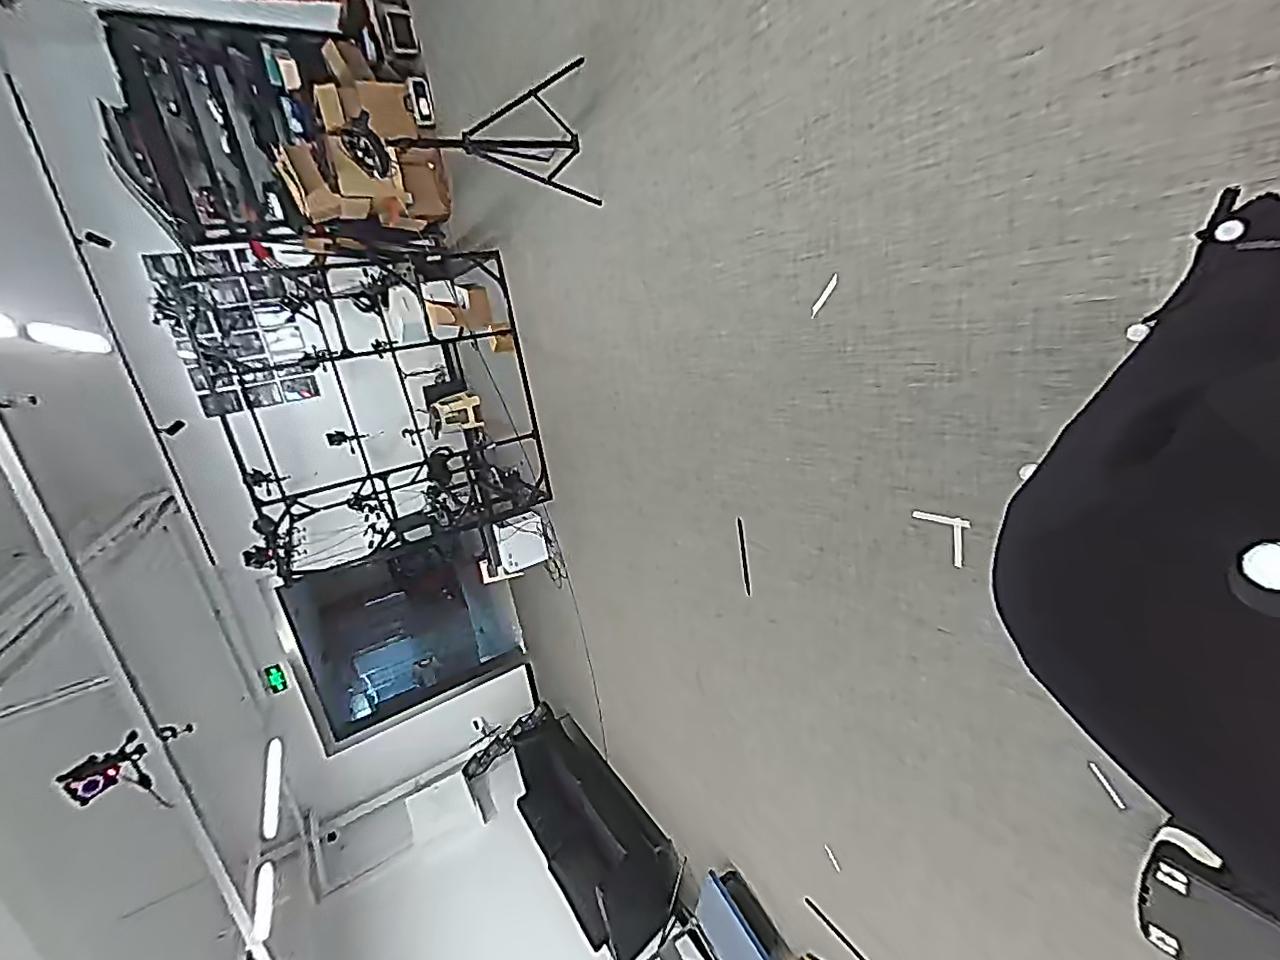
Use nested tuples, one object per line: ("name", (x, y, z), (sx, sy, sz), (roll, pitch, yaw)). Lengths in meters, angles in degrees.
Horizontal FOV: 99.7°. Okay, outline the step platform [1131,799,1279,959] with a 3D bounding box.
("step platform", (1.409, 0.977, 1.044), (0.684, 0.204, 0.286), (19, 123, 59))
